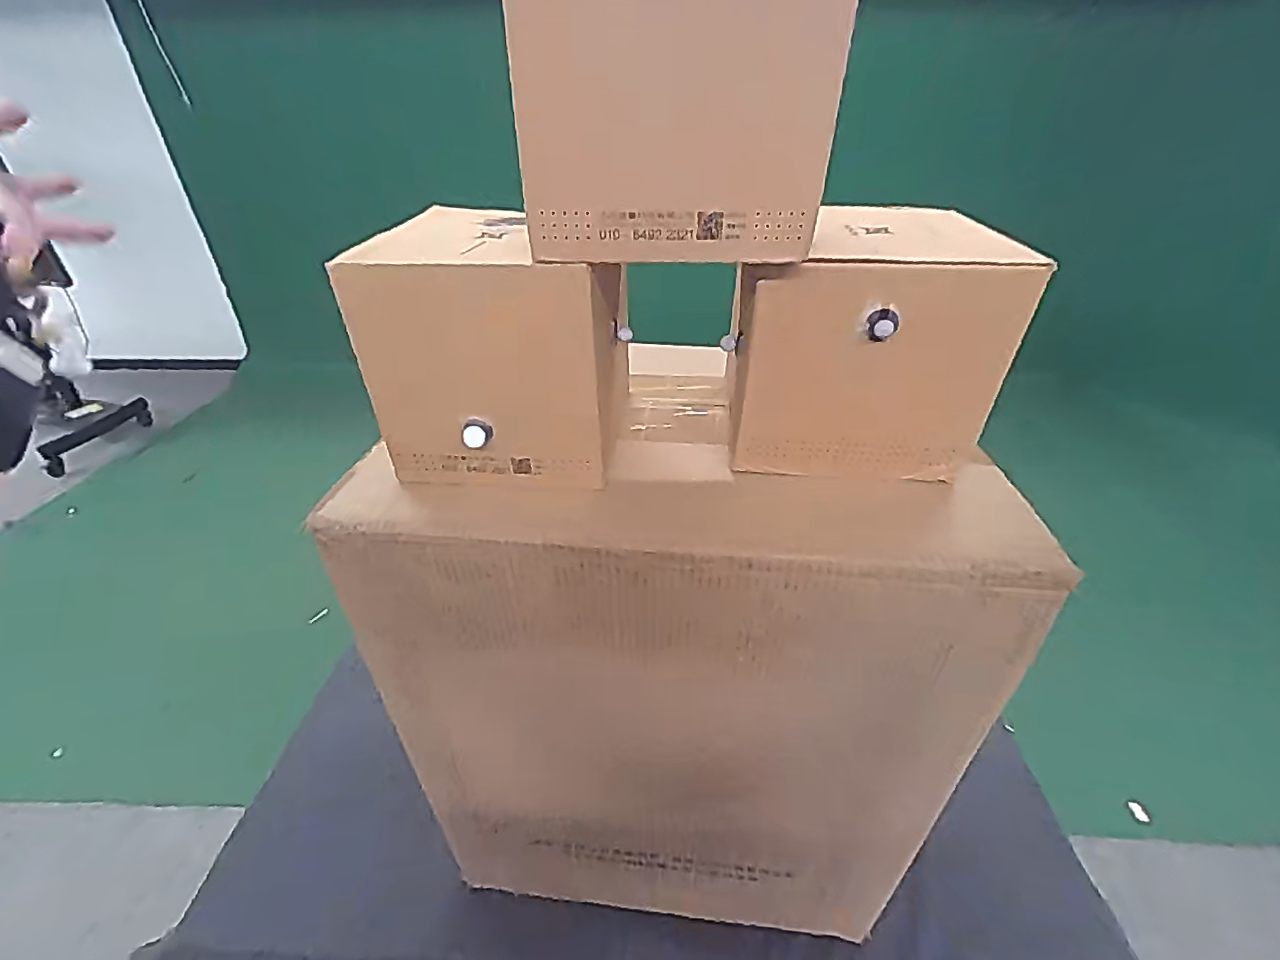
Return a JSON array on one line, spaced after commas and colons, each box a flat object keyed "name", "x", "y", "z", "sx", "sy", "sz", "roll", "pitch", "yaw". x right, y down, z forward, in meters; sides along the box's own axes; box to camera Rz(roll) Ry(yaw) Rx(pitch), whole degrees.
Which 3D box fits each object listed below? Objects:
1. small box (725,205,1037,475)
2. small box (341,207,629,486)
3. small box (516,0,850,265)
[{"name": "small box", "x": 0.164, "y": -0.118, "z": 0.445, "sx": 0.179, "sy": 0.176, "sz": 0.168, "roll": 4, "pitch": 37, "yaw": 3}, {"name": "small box", "x": -0.099, "y": -0.116, "z": 0.444, "sx": 0.168, "sy": 0.176, "sz": 0.179, "roll": 3, "pitch": 37, "yaw": 5}, {"name": "small box", "x": 0.018, "y": -0.248, "z": 0.345, "sx": 0.168, "sy": 0.176, "sz": 0.179, "roll": 1, "pitch": 36, "yaw": 0}]
